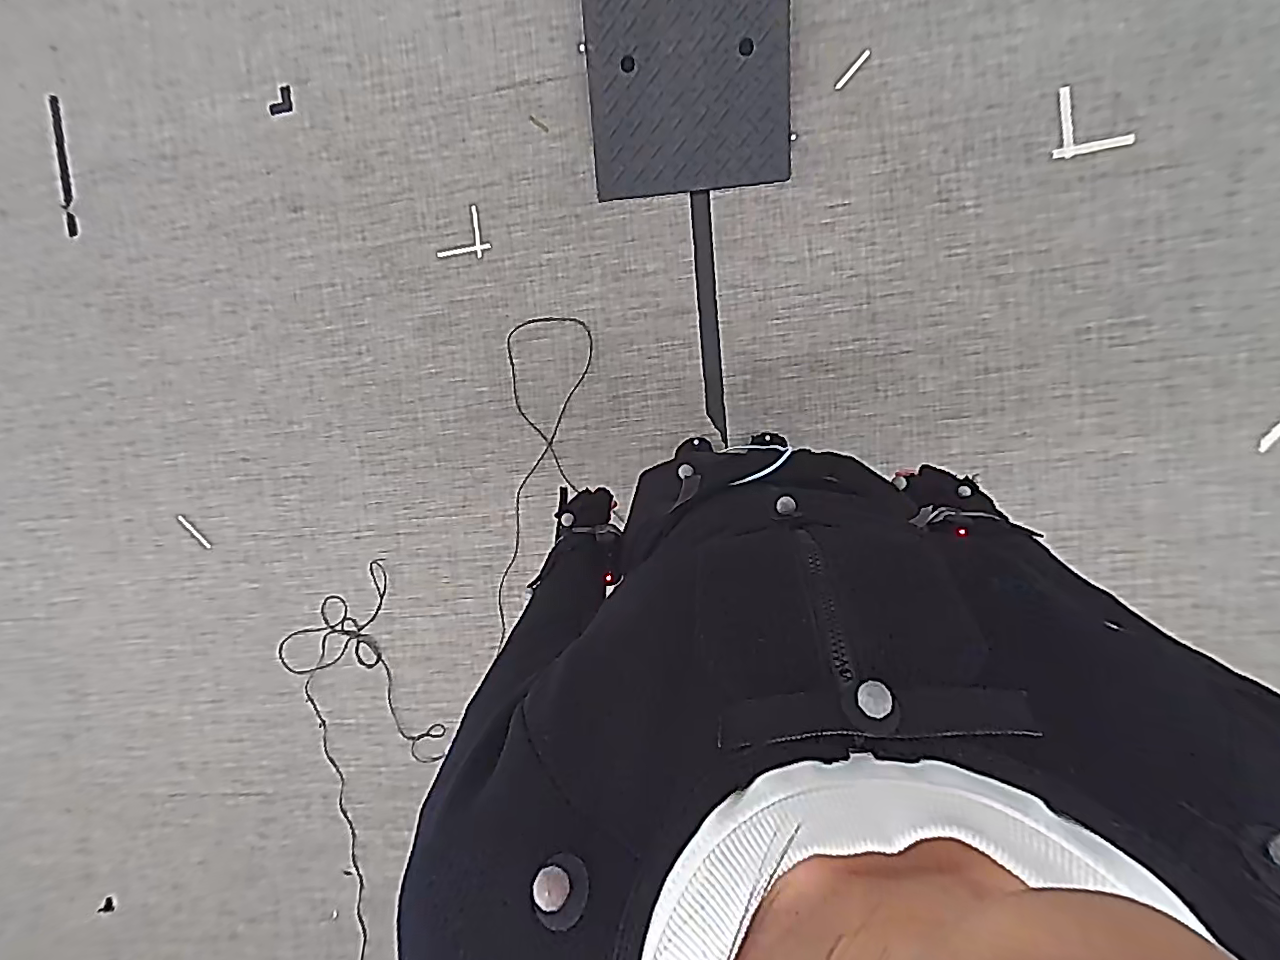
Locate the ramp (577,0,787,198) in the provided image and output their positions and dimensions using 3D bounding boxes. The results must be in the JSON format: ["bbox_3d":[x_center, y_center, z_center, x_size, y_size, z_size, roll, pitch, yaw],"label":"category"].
[{"bbox_3d":[0.088,-1.225,1.248,0.509,0.206,0.991,-4,95,7],"label":"ramp"}]
